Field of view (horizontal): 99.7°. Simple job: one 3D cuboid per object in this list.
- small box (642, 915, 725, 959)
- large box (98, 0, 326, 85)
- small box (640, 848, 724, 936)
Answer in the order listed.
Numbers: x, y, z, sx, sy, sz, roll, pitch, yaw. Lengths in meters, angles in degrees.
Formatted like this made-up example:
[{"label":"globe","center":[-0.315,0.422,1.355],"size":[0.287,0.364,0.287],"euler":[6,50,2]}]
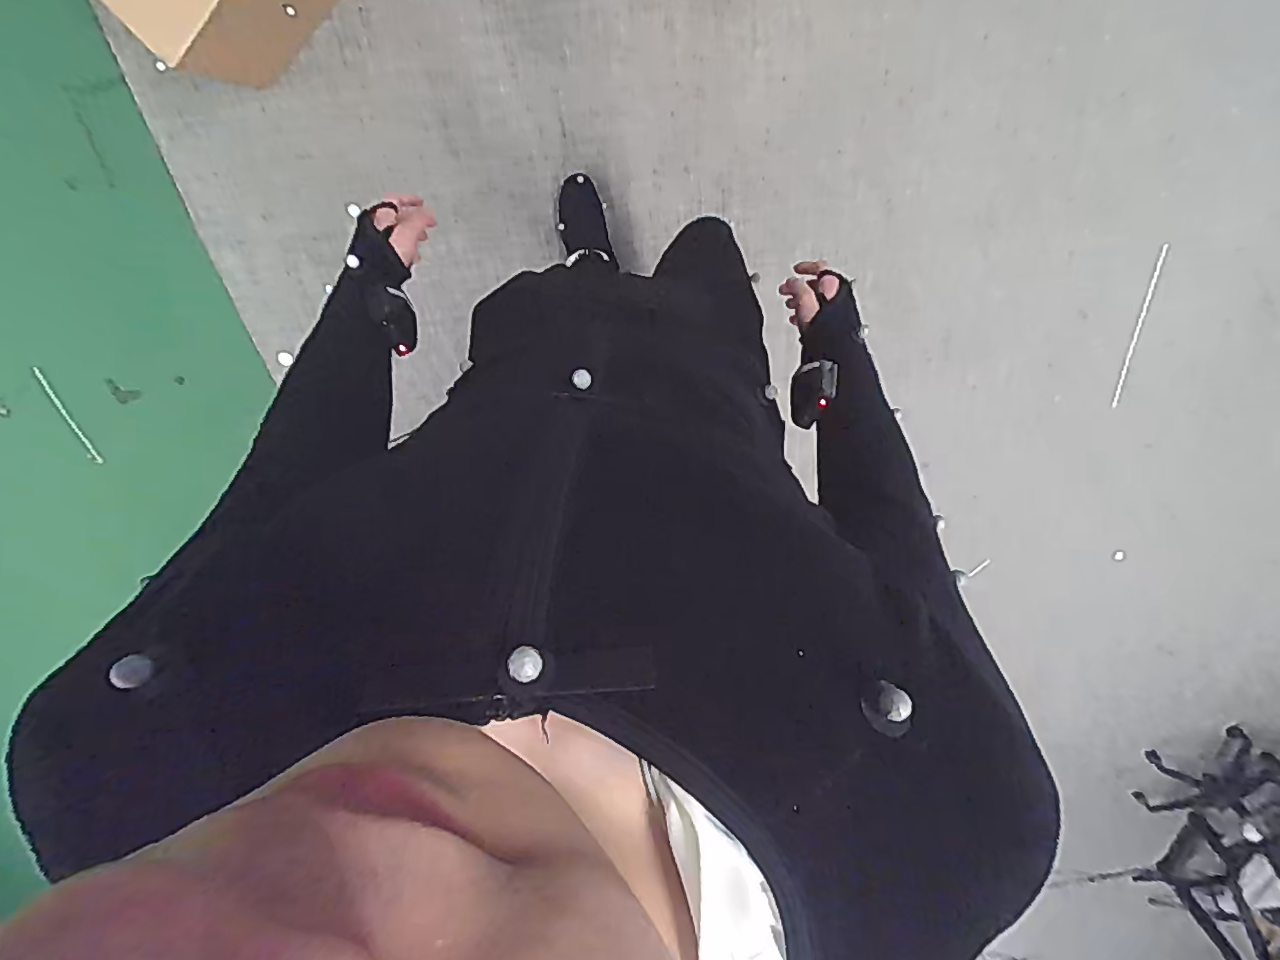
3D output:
[{"label":"small box","center":[0.112,1.280,1.413],"size":[0.168,0.176,0.179],"euler":[30,115,-16]},{"label":"large box","center":[-0.791,-1.024,0.980],"size":[0.408,0.320,0.320],"euler":[-35,115,18]},{"label":"small box","center":[0.113,1.193,1.551],"size":[0.179,0.176,0.168],"euler":[30,116,-17]}]
